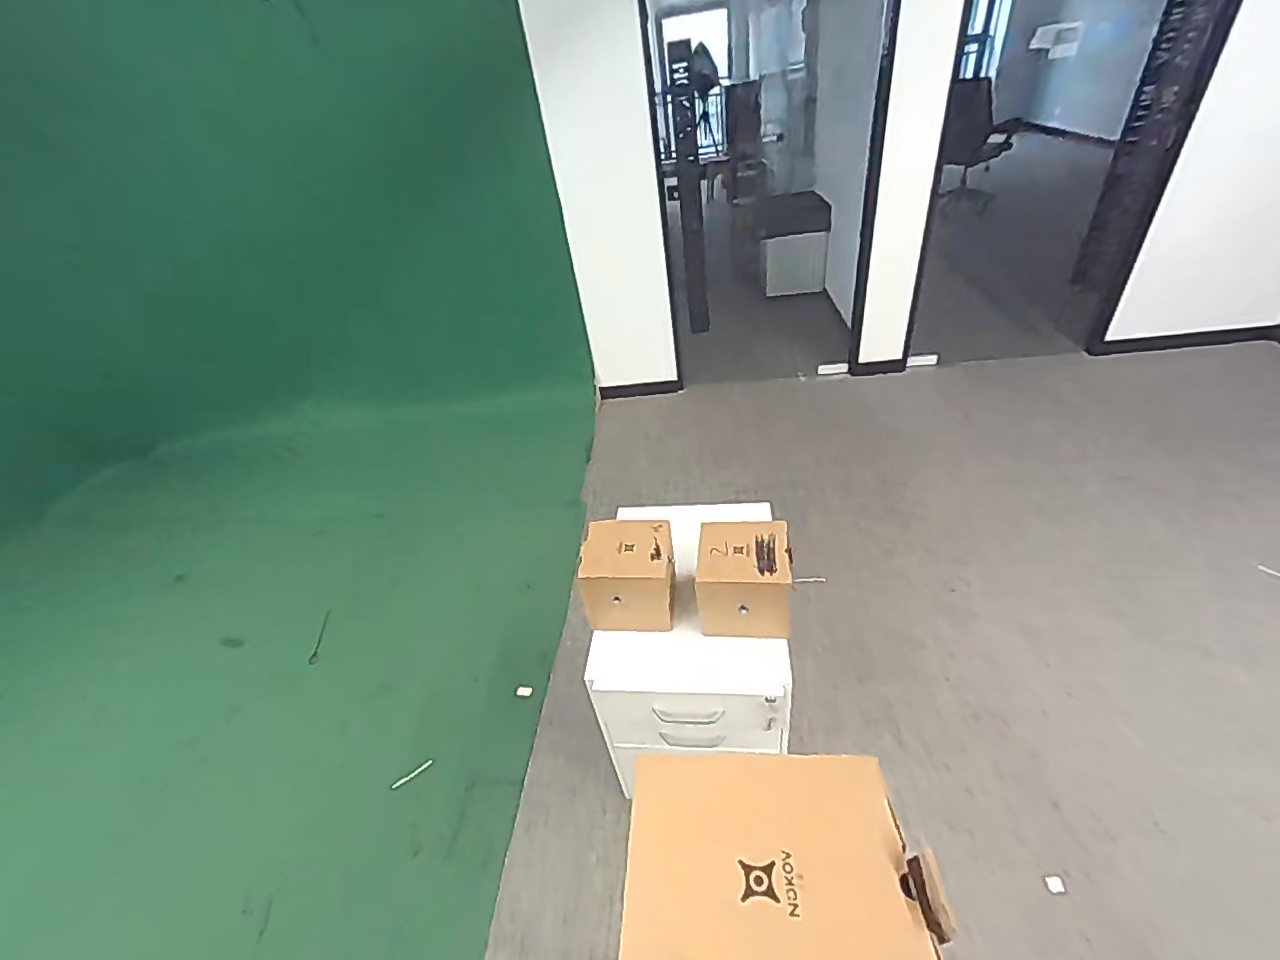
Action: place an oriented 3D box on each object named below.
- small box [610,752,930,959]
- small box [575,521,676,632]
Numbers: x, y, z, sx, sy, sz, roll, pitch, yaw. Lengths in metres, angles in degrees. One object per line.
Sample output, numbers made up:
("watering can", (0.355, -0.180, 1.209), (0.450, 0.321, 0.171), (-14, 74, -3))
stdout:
("small box", (0.082, 0.314, 0.369), (0.179, 0.176, 0.168), (-3, 29, 7))
("small box", (-0.022, 0.204, 1.137), (0.179, 0.176, 0.168), (-2, 38, 9))
